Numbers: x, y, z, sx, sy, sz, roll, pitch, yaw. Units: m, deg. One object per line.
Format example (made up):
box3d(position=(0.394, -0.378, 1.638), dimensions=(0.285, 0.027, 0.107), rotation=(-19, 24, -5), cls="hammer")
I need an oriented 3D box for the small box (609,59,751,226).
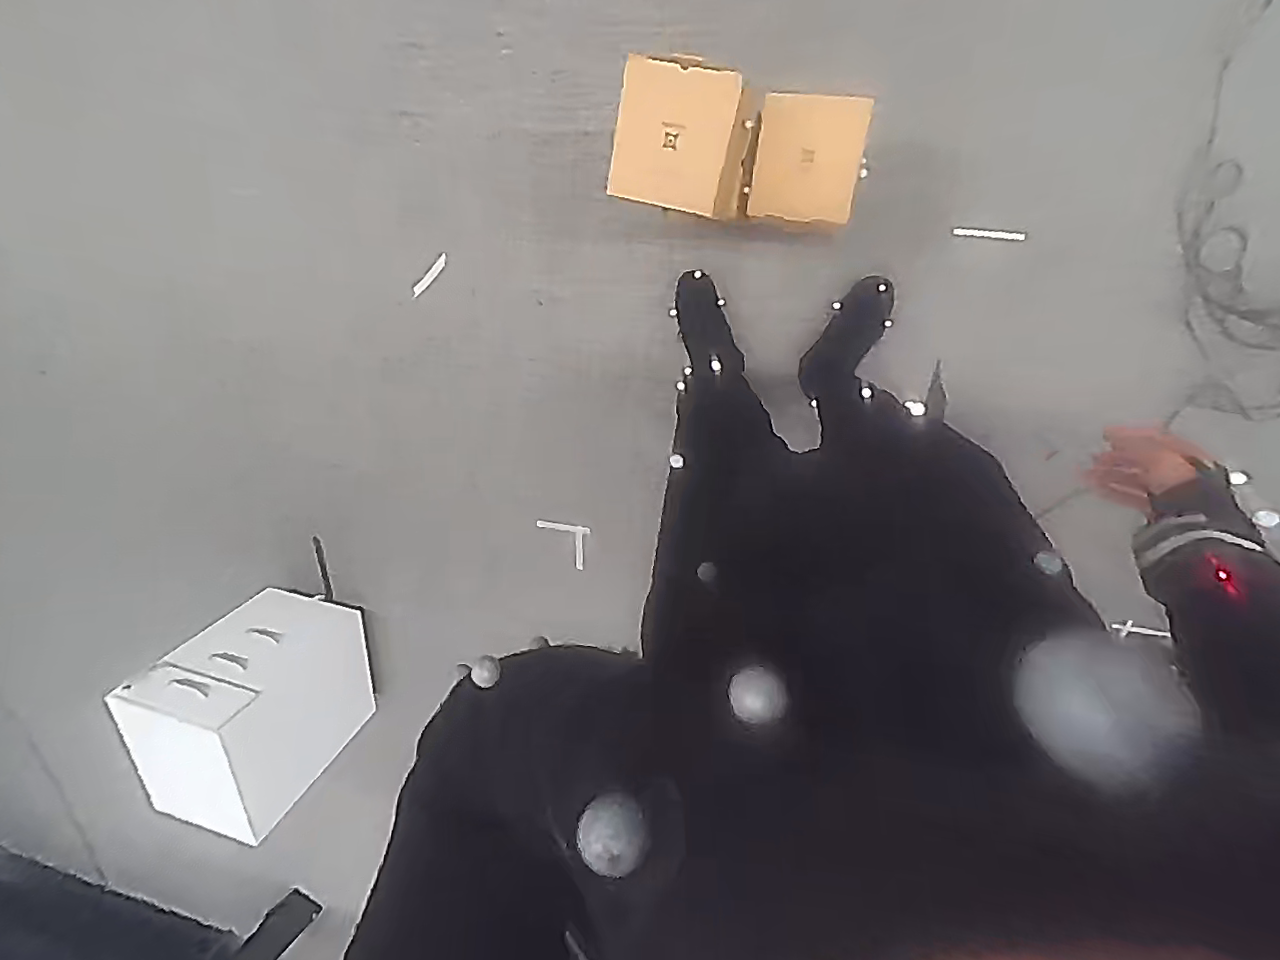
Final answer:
box3d(position=(0.067, -0.501, 0.828), dimensions=(0.168, 0.176, 0.179), rotation=(17, 116, 9), cls="small box")
